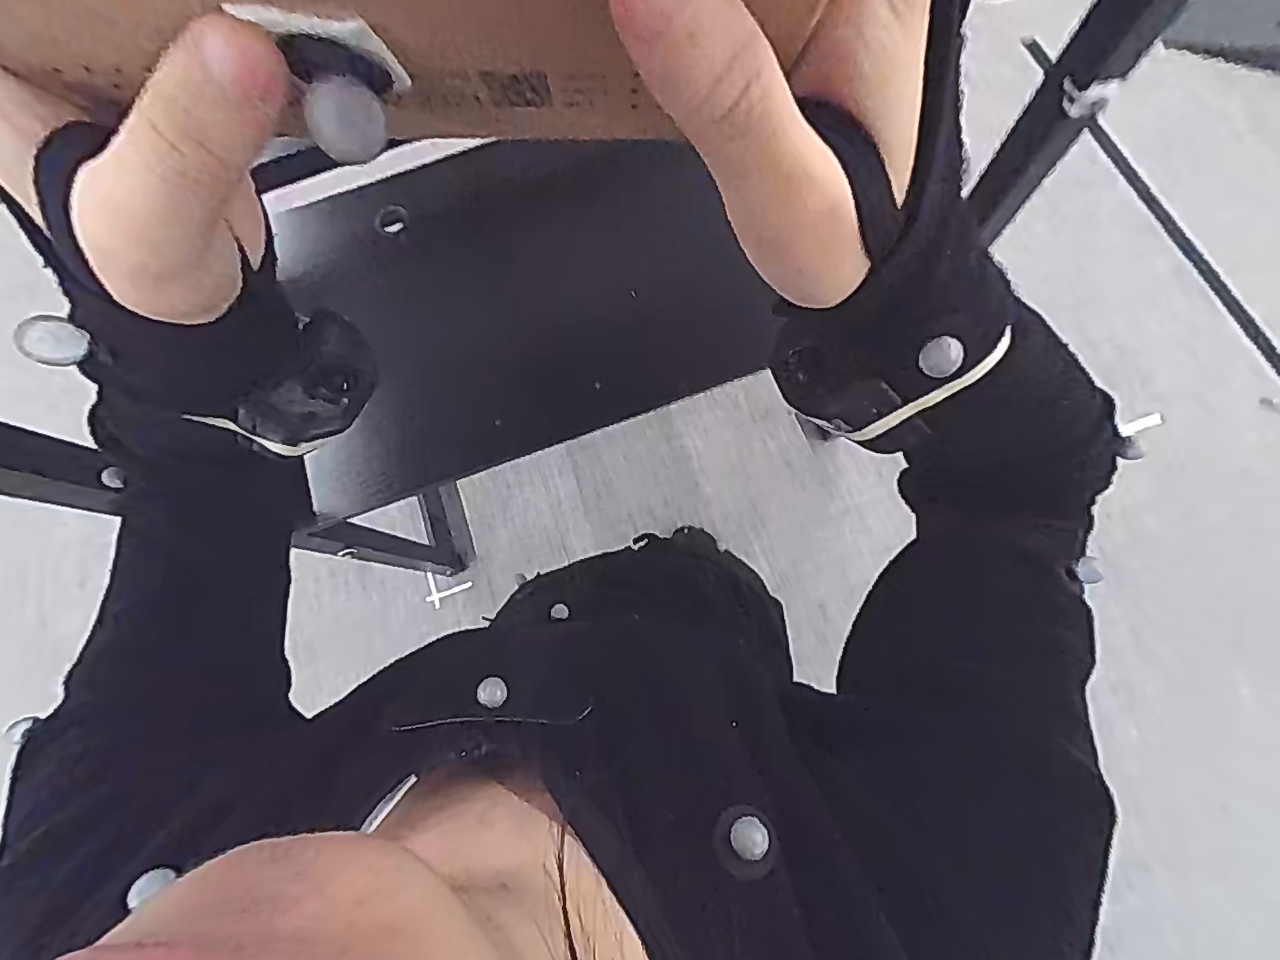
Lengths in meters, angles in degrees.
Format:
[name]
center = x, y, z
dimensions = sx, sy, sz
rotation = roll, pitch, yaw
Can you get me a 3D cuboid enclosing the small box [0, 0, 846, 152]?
[small box]
center = -0.043, -0.161, 0.051
dimensions = 0.168, 0.176, 0.179
rotation = -1, 101, -1
